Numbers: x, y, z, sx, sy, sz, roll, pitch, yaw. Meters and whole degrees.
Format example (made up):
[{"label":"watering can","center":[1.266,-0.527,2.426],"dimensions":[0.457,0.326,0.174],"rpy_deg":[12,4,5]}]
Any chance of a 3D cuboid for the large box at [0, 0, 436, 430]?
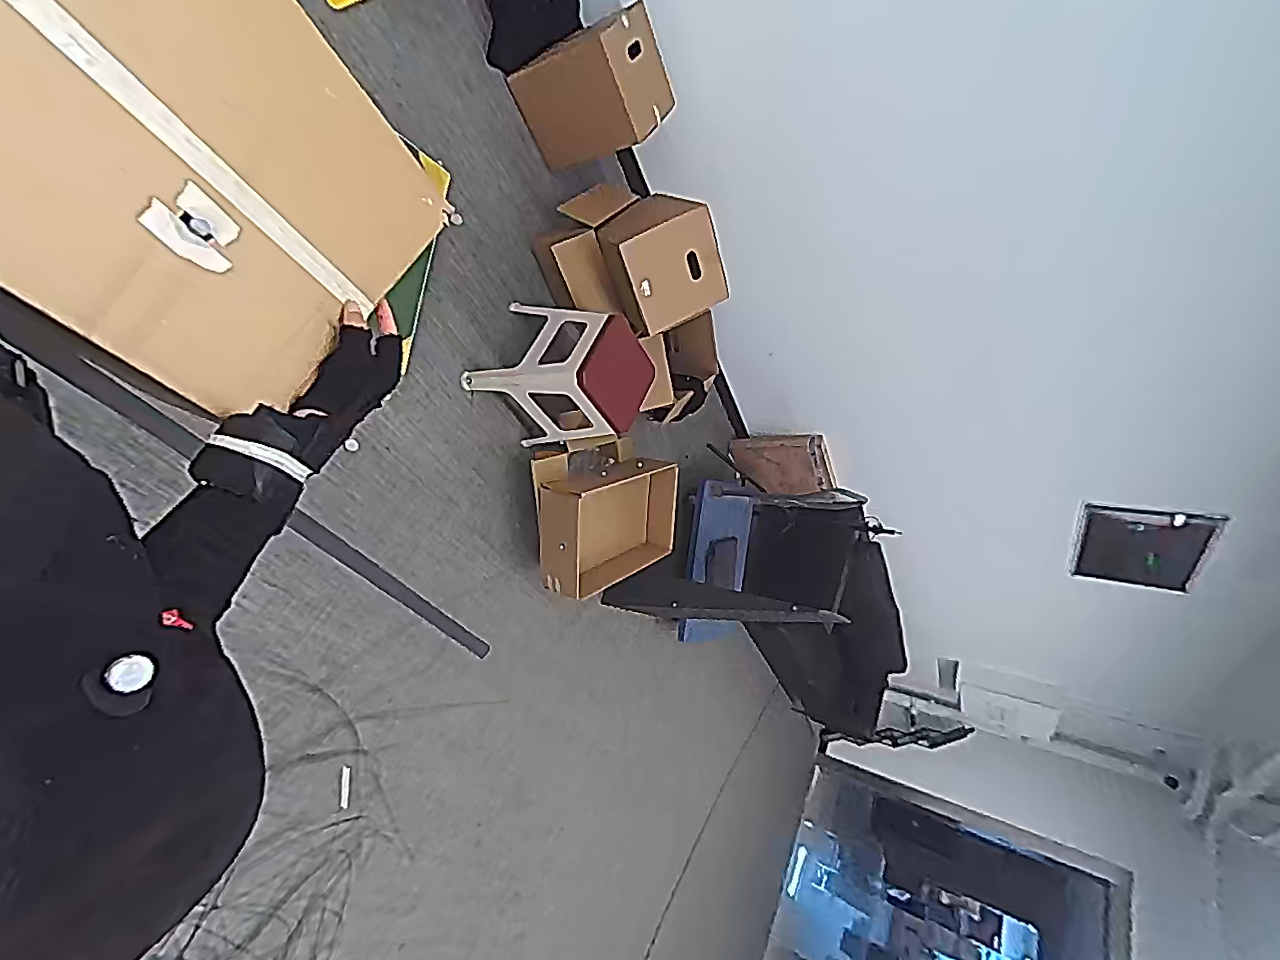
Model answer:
[{"label":"large box","center":[-0.488,-0.298,0.476],"dimensions":[0.320,0.320,0.408],"rpy_deg":[-62,144,-19]}]
